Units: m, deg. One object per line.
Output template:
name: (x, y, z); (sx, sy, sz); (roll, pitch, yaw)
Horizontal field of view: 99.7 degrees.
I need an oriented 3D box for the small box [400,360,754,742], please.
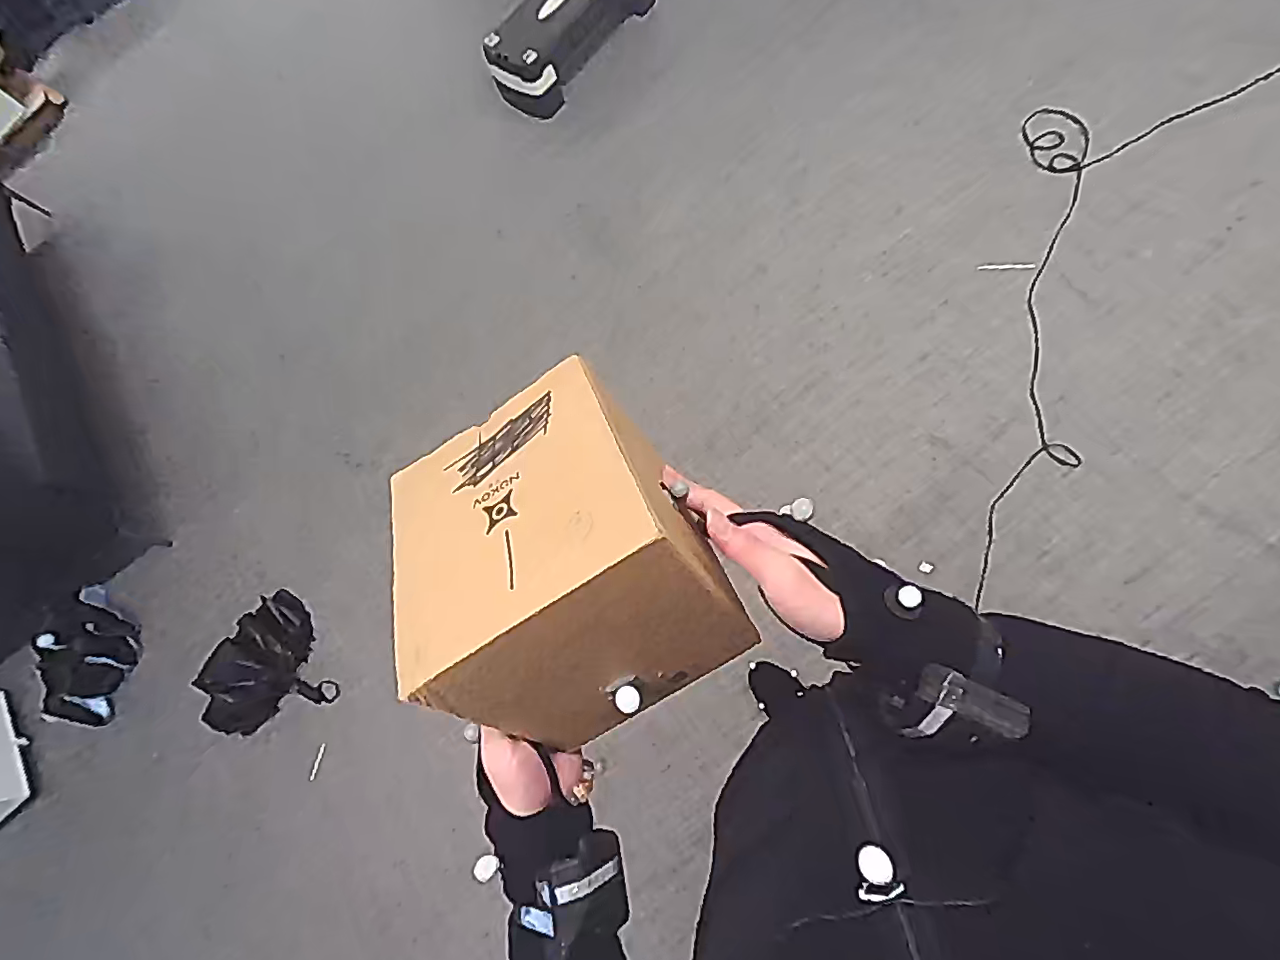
small box: (-0.044, 0.056, 0.387); (0.168, 0.176, 0.179); (-32, 47, 8)
